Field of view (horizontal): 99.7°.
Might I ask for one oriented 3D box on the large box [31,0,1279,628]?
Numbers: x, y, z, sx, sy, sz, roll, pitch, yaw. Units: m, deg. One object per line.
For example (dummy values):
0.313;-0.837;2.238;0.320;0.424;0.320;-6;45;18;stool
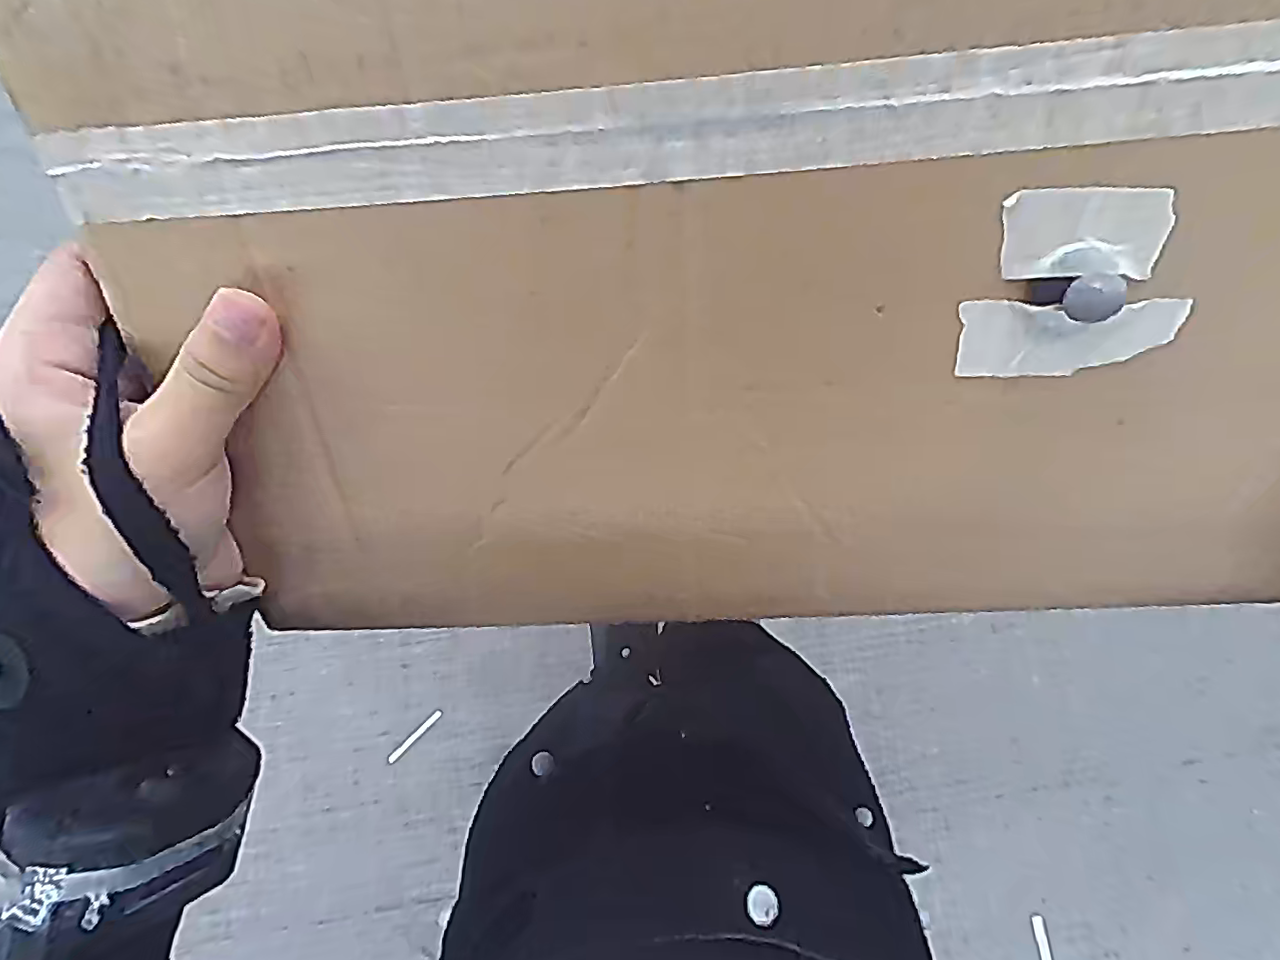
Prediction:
0.048;-0.155;0.280;0.408;0.320;0.320;-4;115;3;large box
